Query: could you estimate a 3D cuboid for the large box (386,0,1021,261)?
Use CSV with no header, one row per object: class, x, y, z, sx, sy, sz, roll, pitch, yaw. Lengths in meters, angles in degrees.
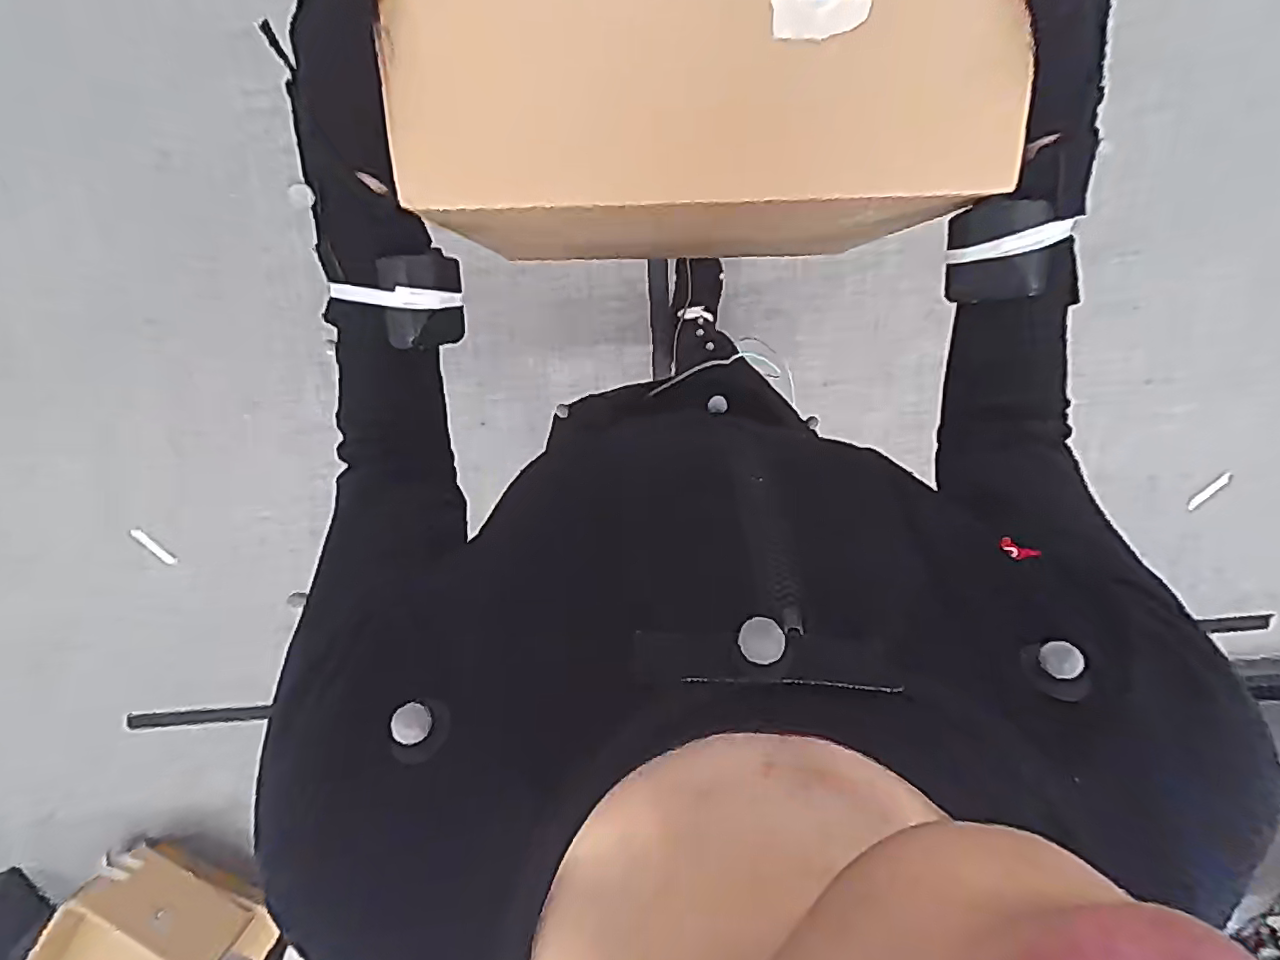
large box,0.035,-0.378,0.468,0.408,0.320,0.320,-2,107,-1
